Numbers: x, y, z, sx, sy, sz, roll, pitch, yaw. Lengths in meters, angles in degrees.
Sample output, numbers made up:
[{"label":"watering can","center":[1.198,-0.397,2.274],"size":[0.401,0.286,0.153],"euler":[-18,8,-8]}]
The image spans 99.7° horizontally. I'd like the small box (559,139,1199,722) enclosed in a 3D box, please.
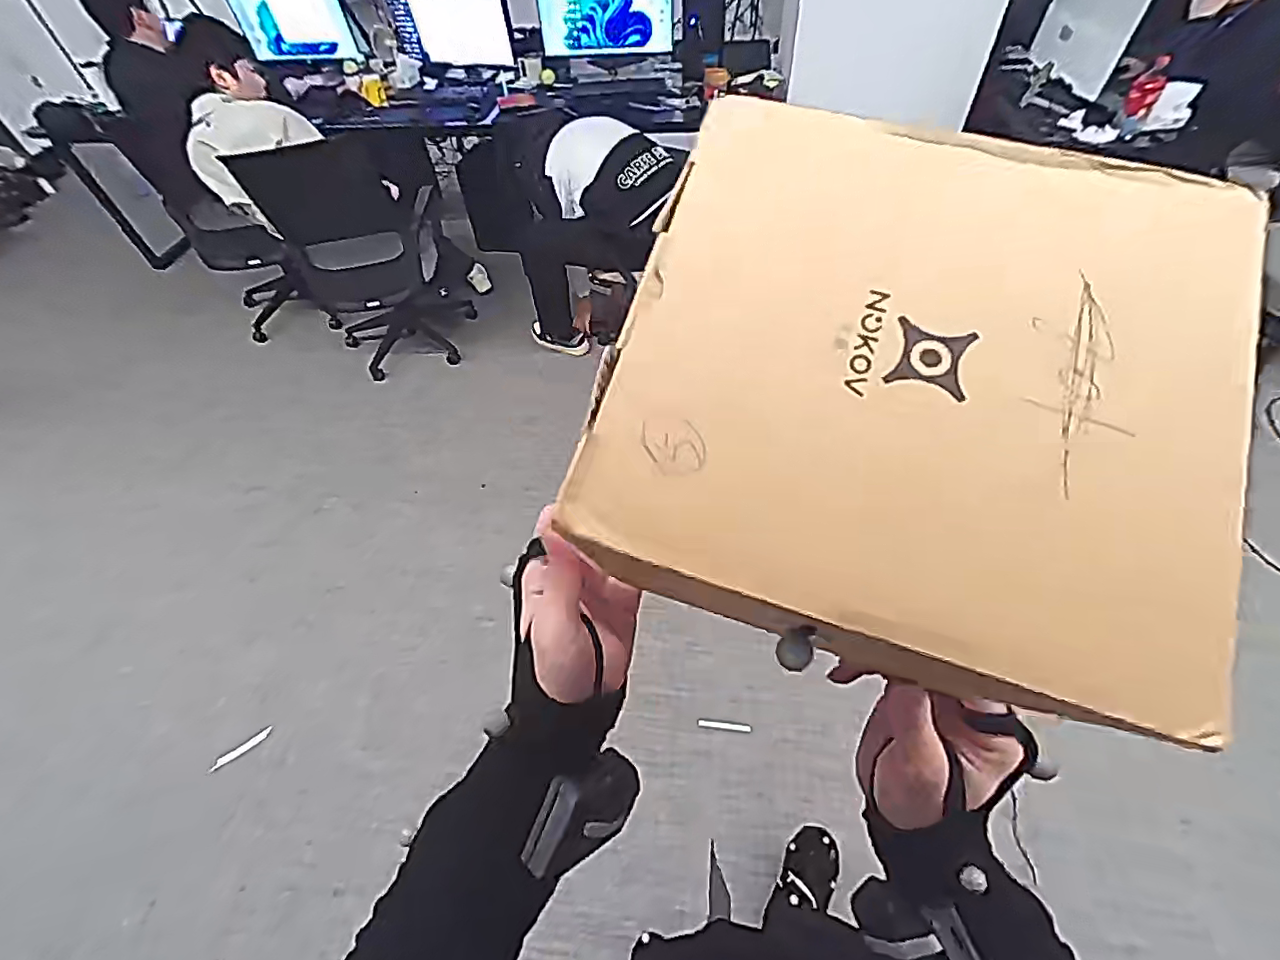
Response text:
[{"label":"small box","center":[0.085,-0.011,0.251],"size":[0.179,0.176,0.168],"euler":[16,77,8]}]
